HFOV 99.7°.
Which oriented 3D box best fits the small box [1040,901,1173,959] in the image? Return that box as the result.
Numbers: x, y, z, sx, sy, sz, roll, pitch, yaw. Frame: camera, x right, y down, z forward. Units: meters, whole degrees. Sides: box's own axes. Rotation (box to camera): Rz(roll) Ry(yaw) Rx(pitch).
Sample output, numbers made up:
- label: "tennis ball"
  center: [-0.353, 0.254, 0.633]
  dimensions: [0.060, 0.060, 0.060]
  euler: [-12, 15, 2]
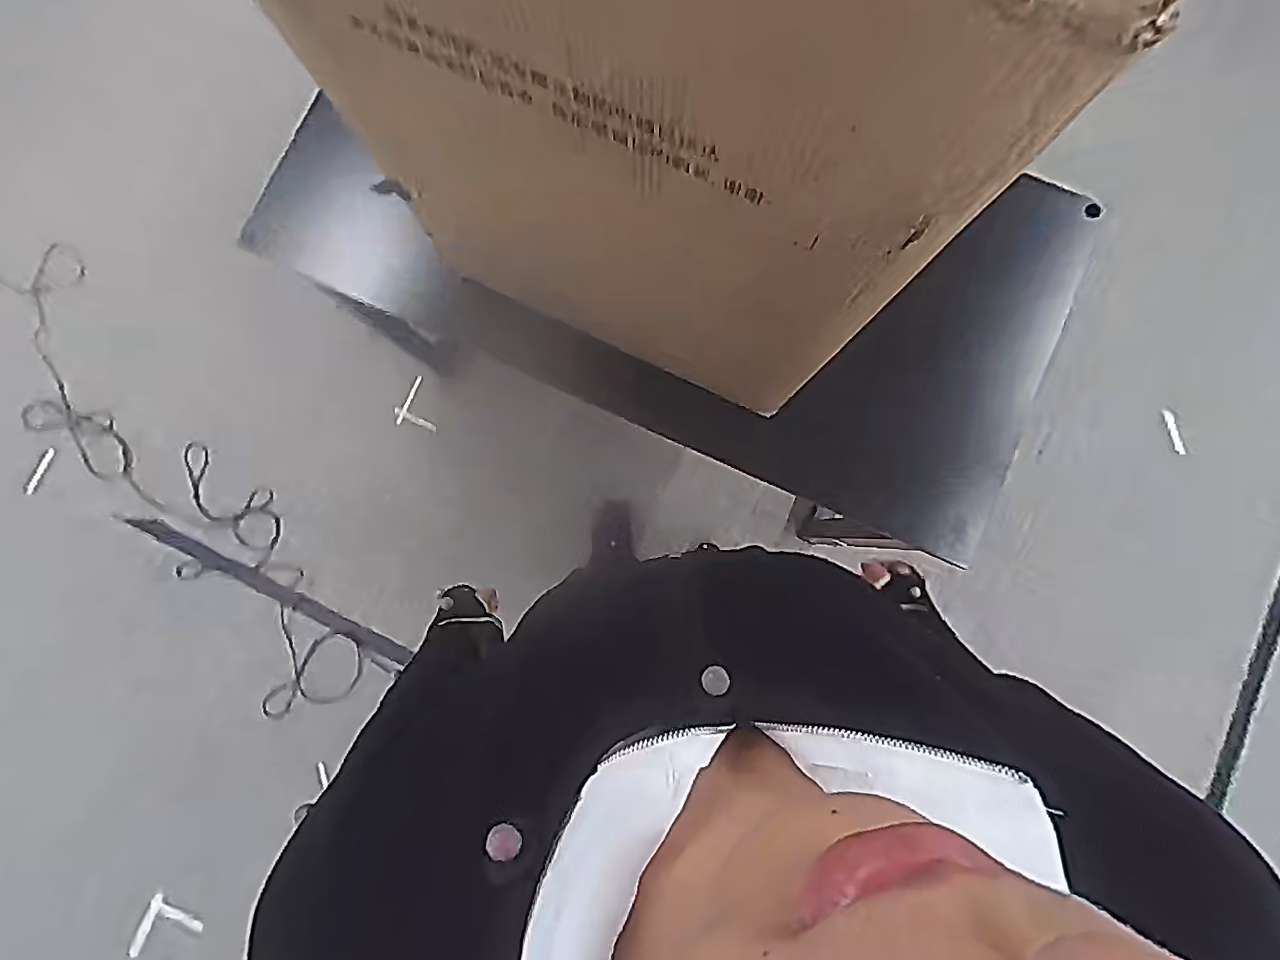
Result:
- label: "small box"
  center: [1.012, 1.052, 1.154]
  dimensions: [0.179, 0.176, 0.168]
  euler: [16, 84, 3]

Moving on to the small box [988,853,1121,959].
- label: "small box"
  center: [1.005, 1.061, 1.319]
  dimensions: [0.179, 0.176, 0.168]
  euler: [21, 84, 4]
